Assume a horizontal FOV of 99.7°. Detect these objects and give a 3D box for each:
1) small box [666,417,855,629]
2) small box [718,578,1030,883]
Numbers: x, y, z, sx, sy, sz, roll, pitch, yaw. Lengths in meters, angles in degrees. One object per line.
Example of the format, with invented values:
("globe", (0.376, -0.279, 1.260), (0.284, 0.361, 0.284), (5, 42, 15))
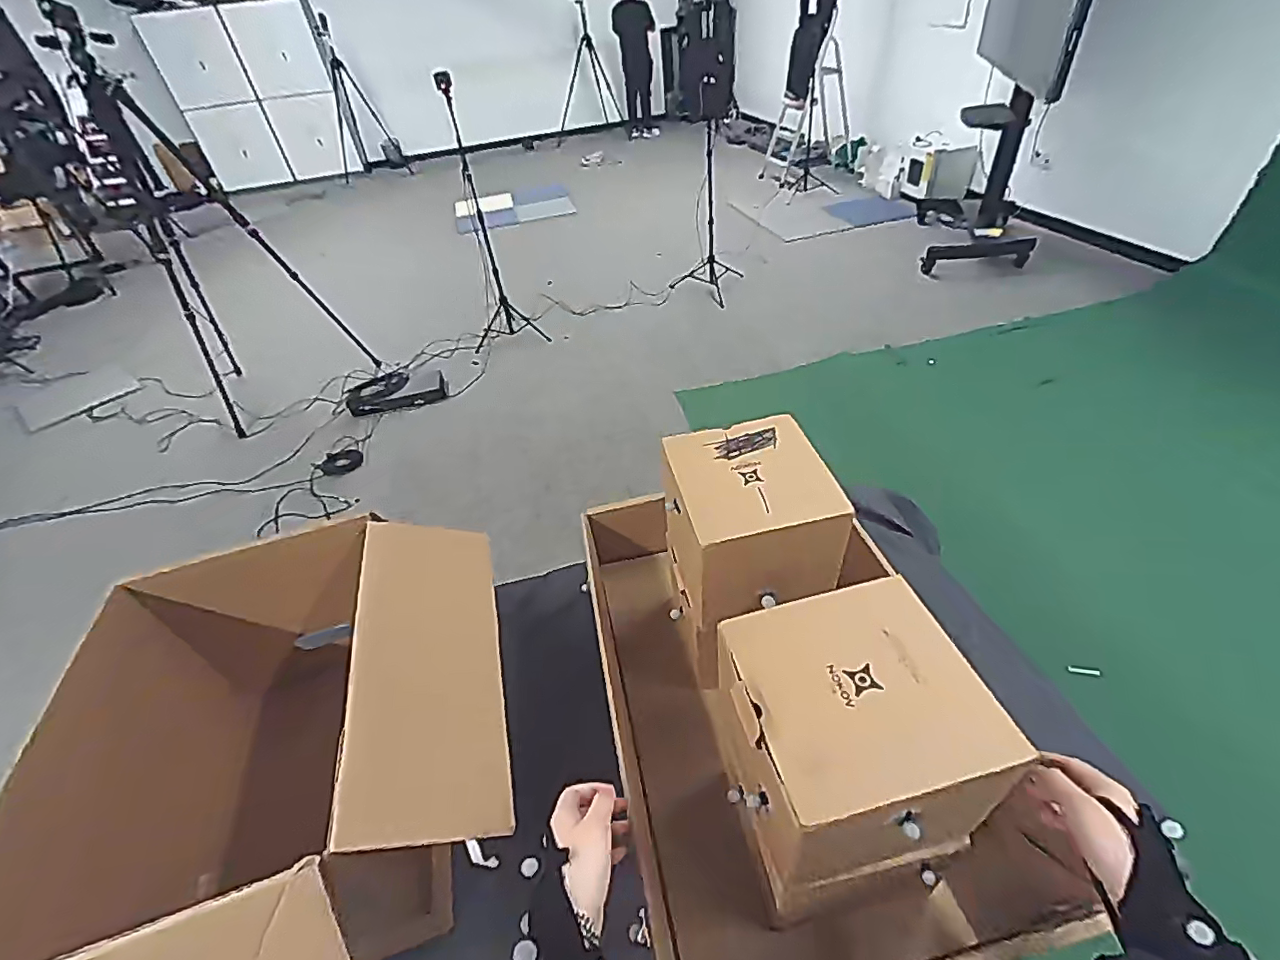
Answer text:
("small box", (0.131, 0.051, 0.657), (0.168, 0.176, 0.179), (-12, 44, -4))
("small box", (0.177, 0.217, 0.471), (0.179, 0.176, 0.168), (-12, 42, -6))
